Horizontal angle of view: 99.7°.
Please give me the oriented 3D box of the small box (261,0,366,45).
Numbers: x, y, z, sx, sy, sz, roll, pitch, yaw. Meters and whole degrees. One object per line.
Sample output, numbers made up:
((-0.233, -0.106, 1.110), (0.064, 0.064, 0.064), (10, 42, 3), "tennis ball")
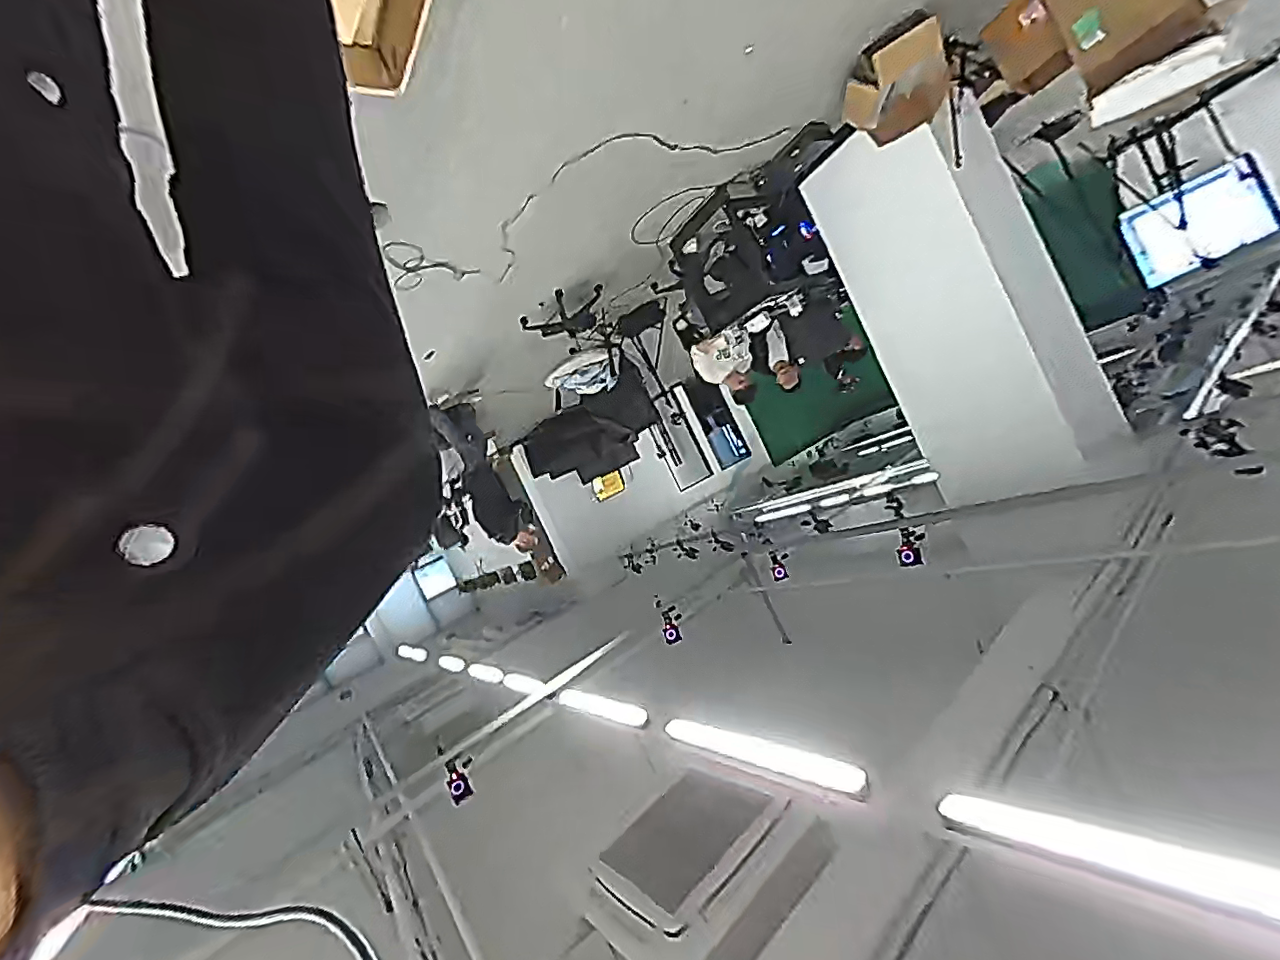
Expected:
((-0.680, -1.044, 1.088), (0.168, 0.176, 0.179), (-26, 180, 42), "small box")
